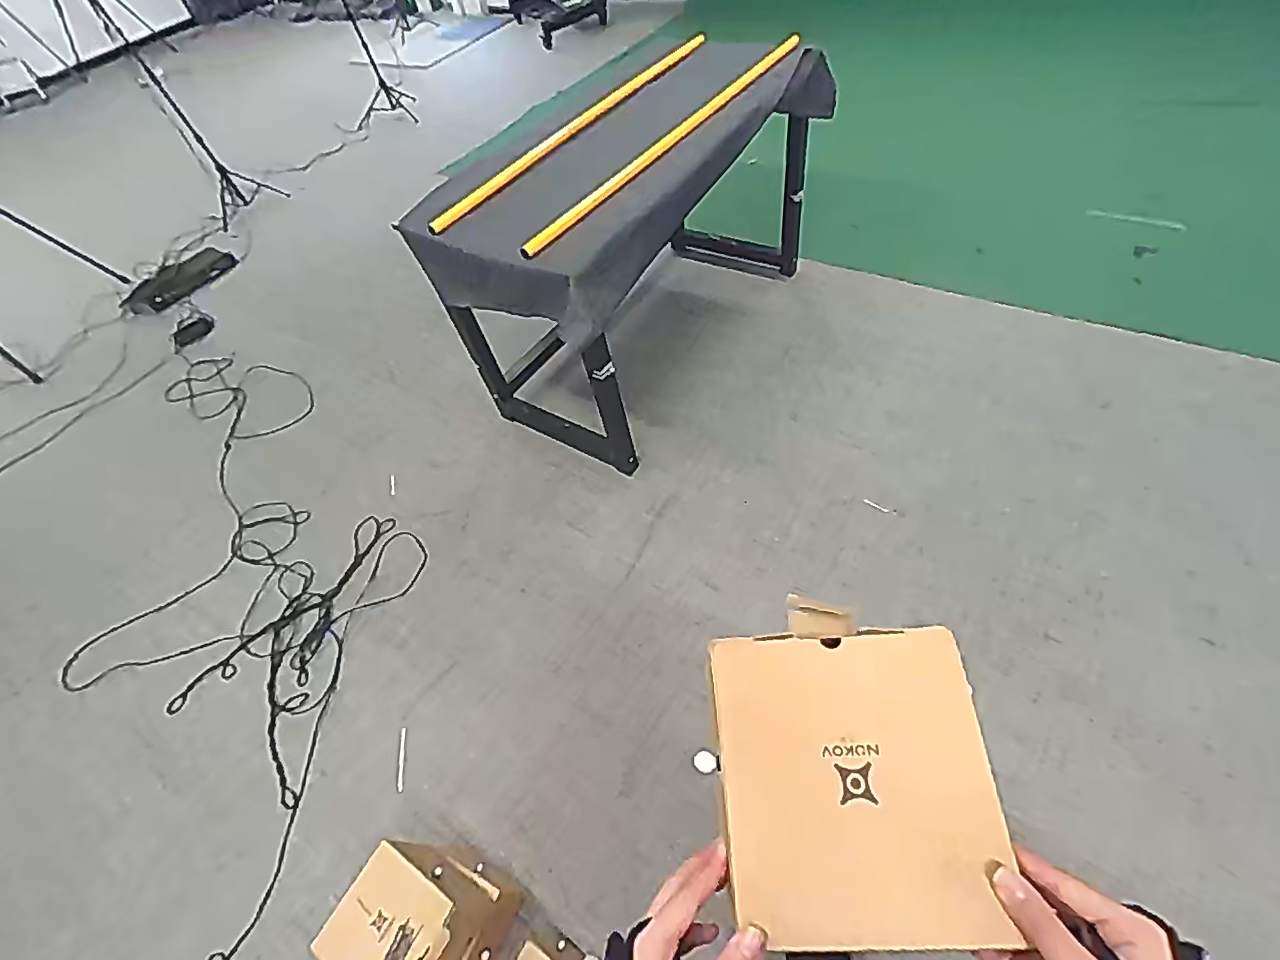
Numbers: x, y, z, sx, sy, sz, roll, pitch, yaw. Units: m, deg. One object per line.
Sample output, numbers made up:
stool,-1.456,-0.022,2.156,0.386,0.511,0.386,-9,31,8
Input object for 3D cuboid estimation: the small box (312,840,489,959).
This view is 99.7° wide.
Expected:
small box,-0.386,0.739,0.904,0.179,0.176,0.168,21,60,25

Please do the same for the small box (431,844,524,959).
small box,-0.348,0.835,1.033,0.168,0.176,0.179,16,59,22

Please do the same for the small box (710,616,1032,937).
small box,0.144,0.210,0.412,0.168,0.176,0.179,-5,64,5
